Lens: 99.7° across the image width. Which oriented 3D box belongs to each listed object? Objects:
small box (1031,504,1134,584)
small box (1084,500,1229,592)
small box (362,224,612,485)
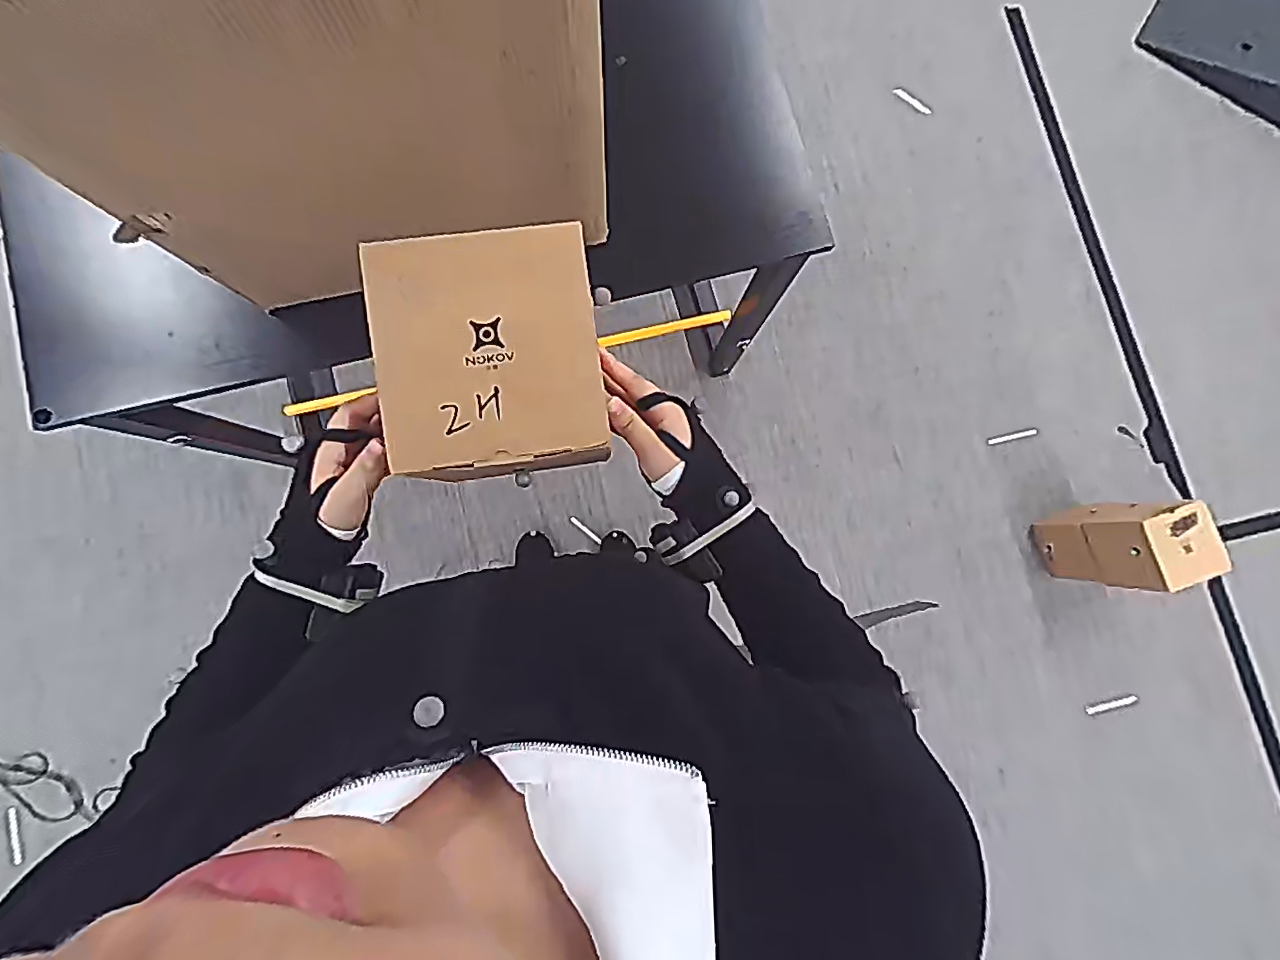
[{"bbox_3d":[1.237,0.172,1.486,0.179,0.176,0.168,-21,85,-3],"label":"small box"},{"bbox_3d":[1.248,0.160,1.322,0.168,0.176,0.179,-19,85,-4],"label":"small box"},{"bbox_3d":[-0.119,-0.094,0.476,0.168,0.176,0.179,-8,88,-4],"label":"small box"}]
